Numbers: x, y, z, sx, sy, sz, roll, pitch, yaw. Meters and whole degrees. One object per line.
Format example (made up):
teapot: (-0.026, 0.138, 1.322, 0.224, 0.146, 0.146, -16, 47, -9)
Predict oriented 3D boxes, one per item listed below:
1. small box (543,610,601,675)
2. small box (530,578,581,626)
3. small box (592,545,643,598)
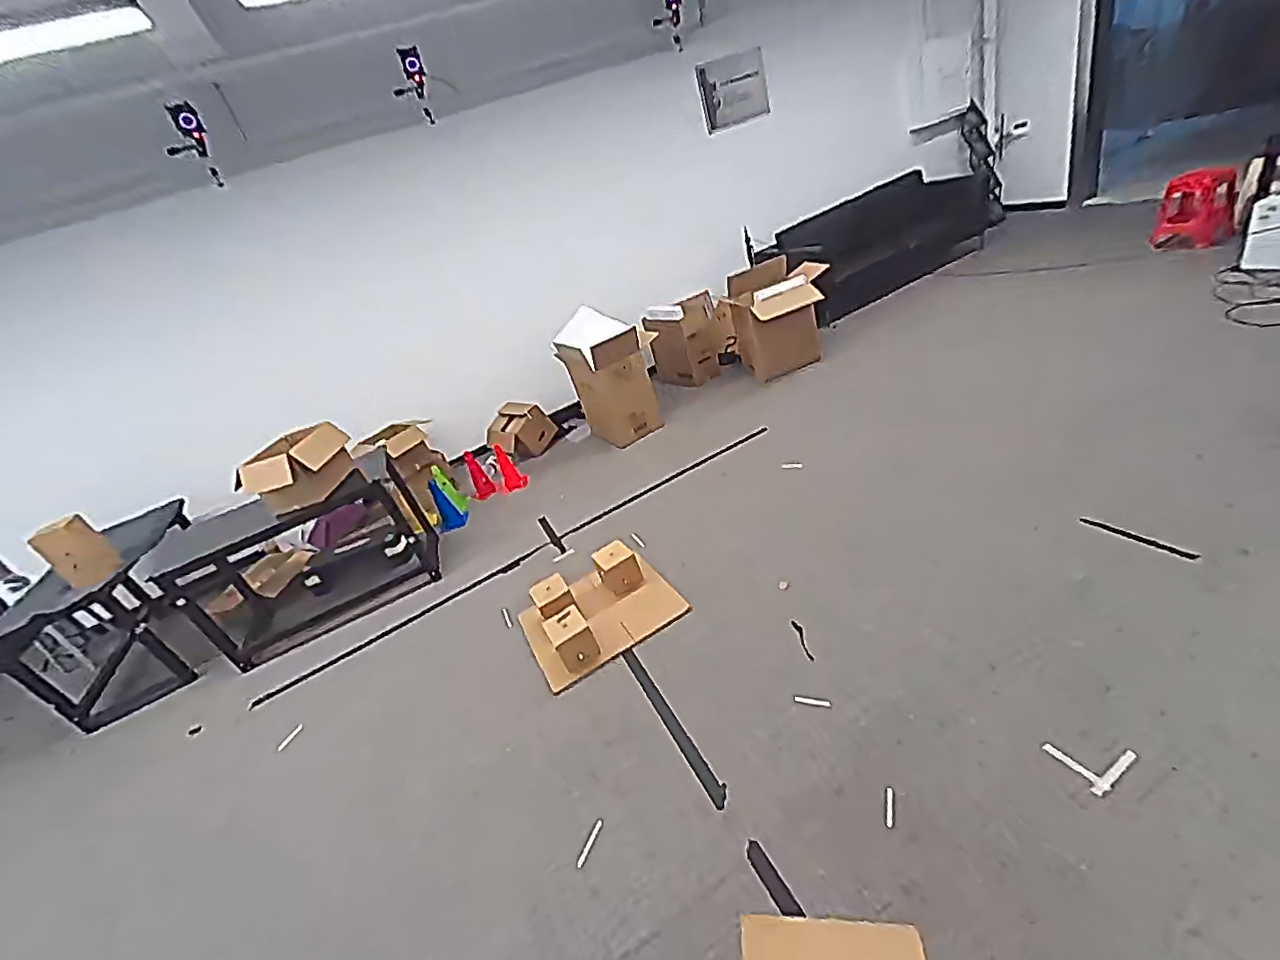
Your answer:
small box: (-0.295, 0.707, 2.352, 0.168, 0.176, 0.179, -30, 30, -16)
small box: (-0.405, 0.608, 2.596, 0.168, 0.176, 0.179, -29, 30, -16)
small box: (-0.111, 0.457, 2.691, 0.168, 0.176, 0.179, -30, 30, -19)
